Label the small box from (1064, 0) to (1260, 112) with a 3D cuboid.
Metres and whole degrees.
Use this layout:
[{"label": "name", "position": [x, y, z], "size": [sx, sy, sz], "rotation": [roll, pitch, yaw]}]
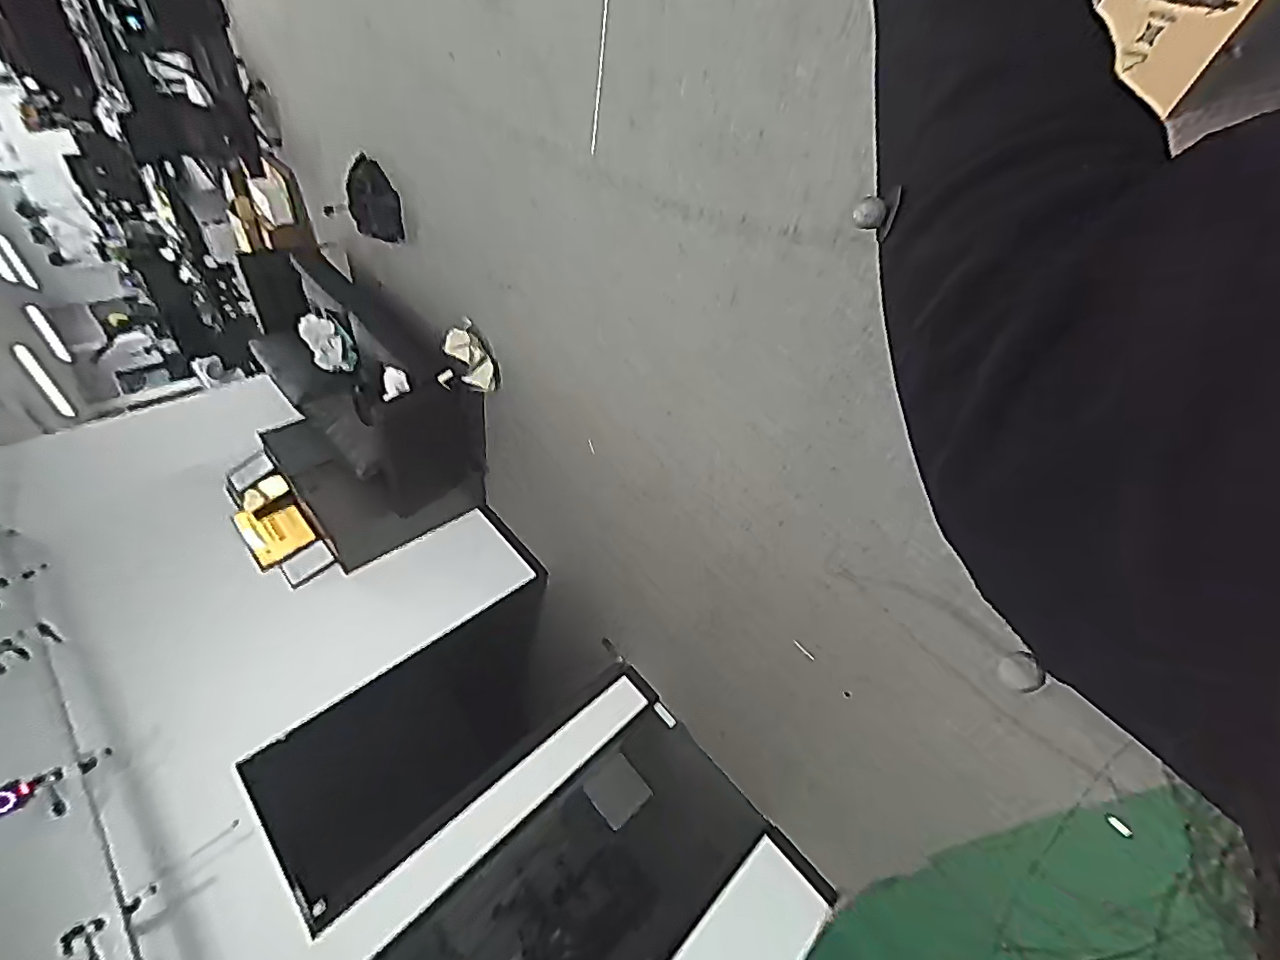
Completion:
[{"label": "small box", "position": [0.851, -0.733, 0.879], "size": [0.168, 0.176, 0.179], "rotation": [44, 143, 21]}]
